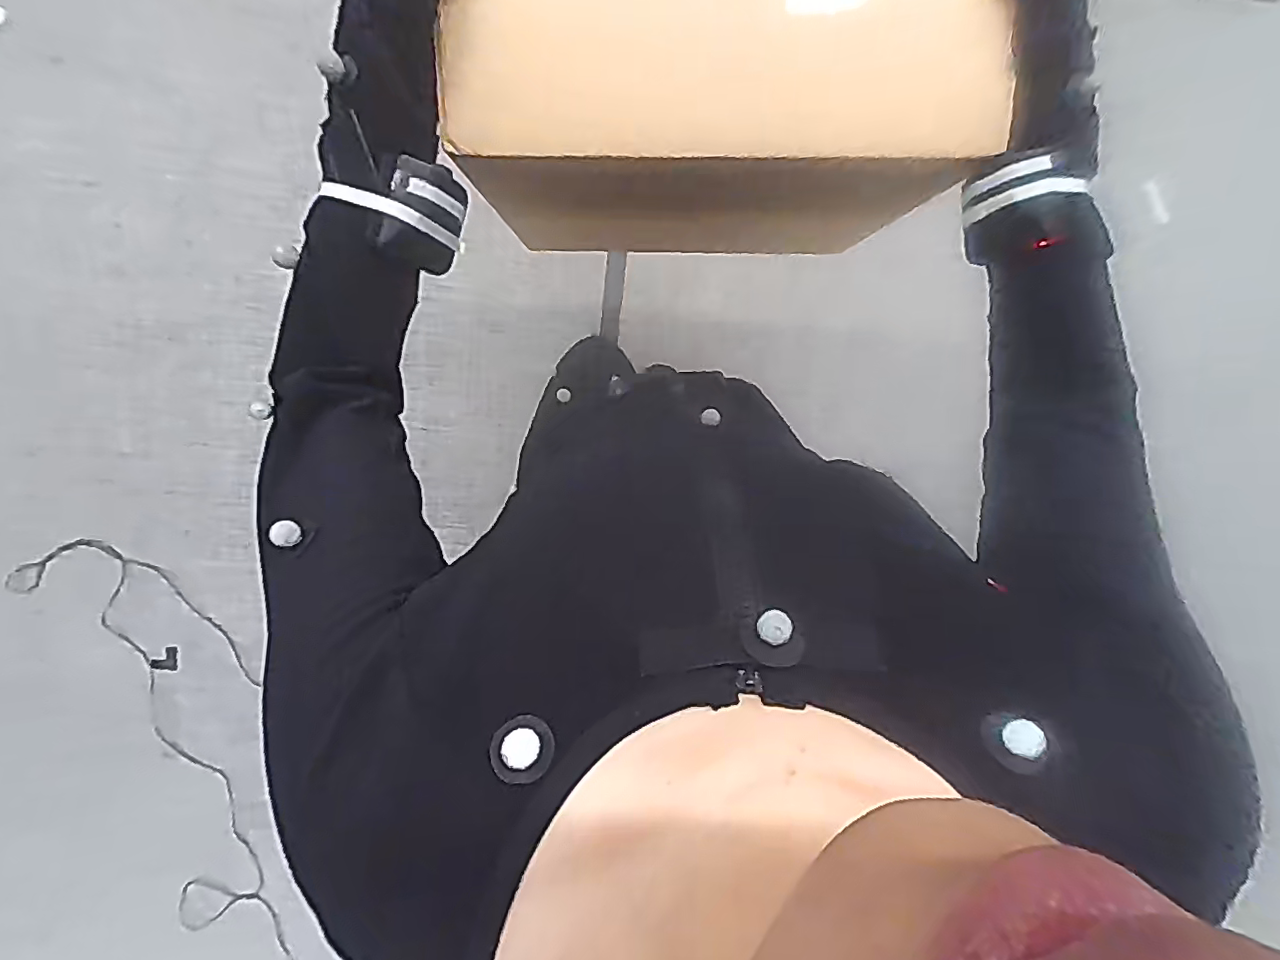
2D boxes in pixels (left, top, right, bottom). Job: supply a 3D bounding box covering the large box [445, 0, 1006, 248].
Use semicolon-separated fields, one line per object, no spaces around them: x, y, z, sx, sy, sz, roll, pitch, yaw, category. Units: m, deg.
0.056;-0.422;0.515;0.408;0.320;0.320;0;101;-1;large box
